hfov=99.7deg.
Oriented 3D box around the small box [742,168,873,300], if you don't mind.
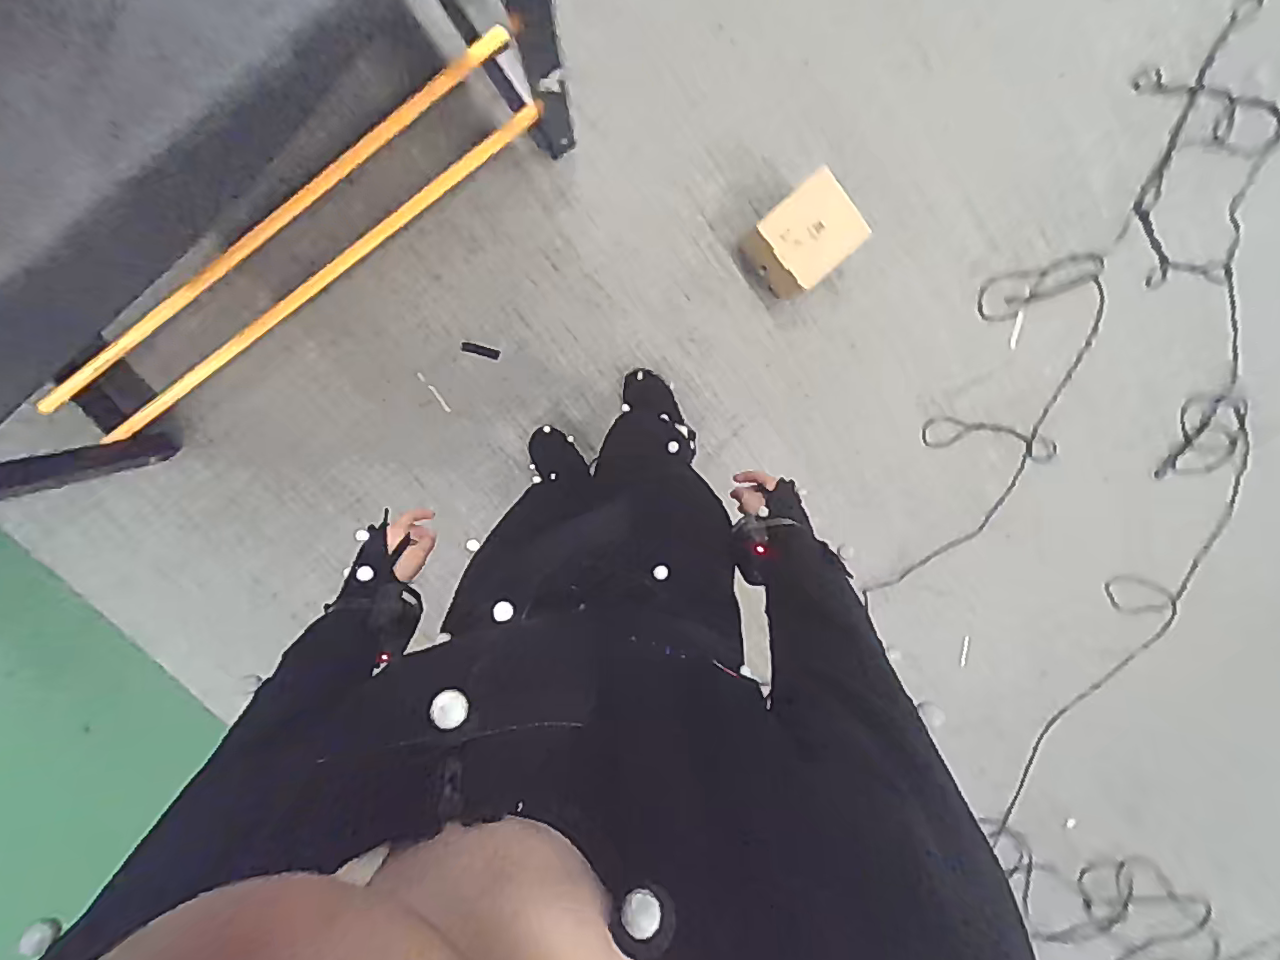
[{"bbox_3d":[0.343,-0.507,1.142,0.179,0.176,0.168,-41,101,6],"label":"small box"}]
